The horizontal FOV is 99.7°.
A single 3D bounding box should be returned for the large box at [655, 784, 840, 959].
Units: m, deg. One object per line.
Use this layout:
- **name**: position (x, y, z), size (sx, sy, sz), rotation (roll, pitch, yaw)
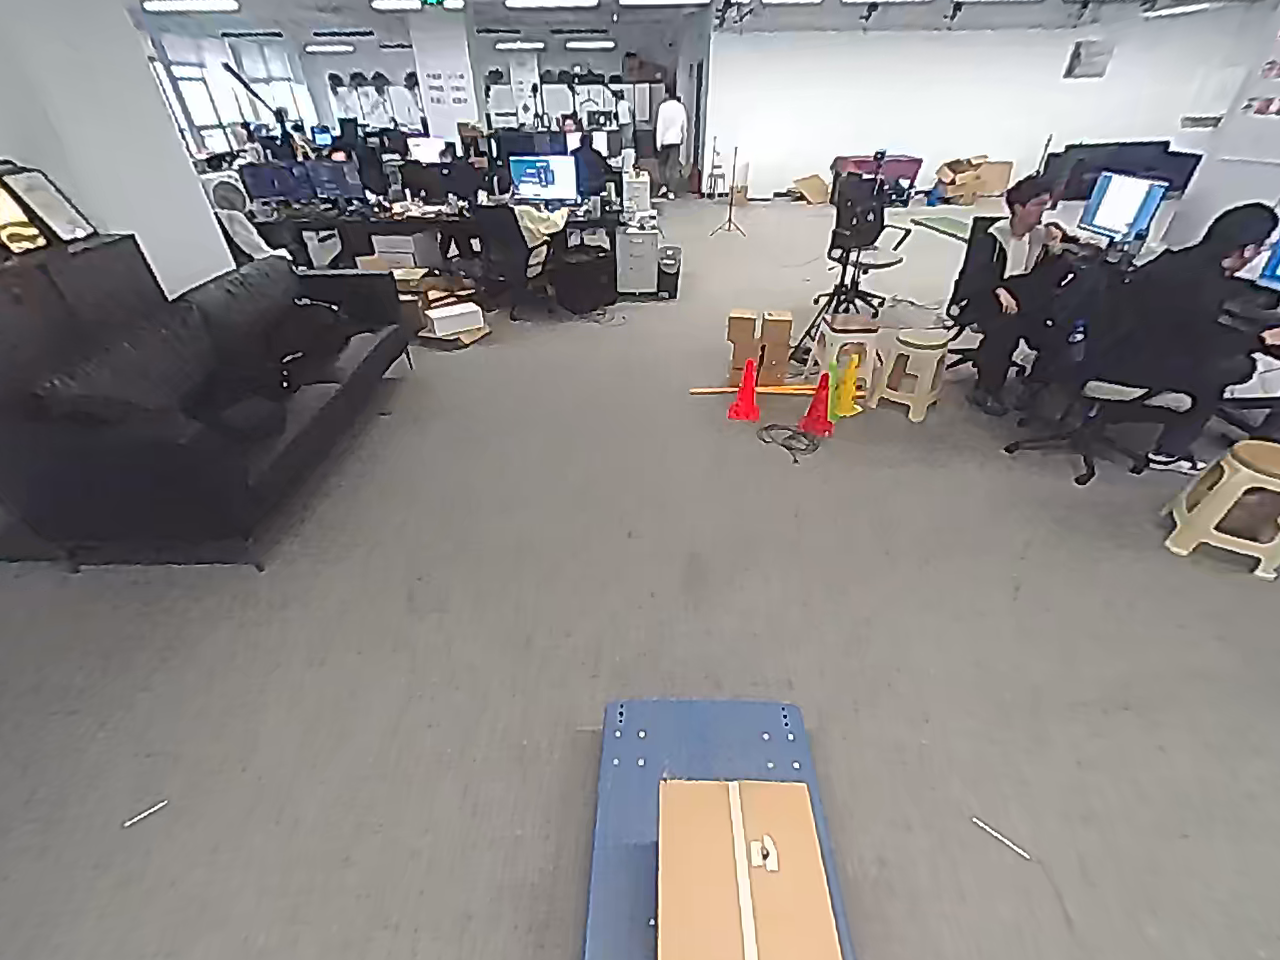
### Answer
- **large box**: position (0.189, 0.886, 1.070), size (0.320, 0.320, 0.408), rotation (0, 34, 2)
